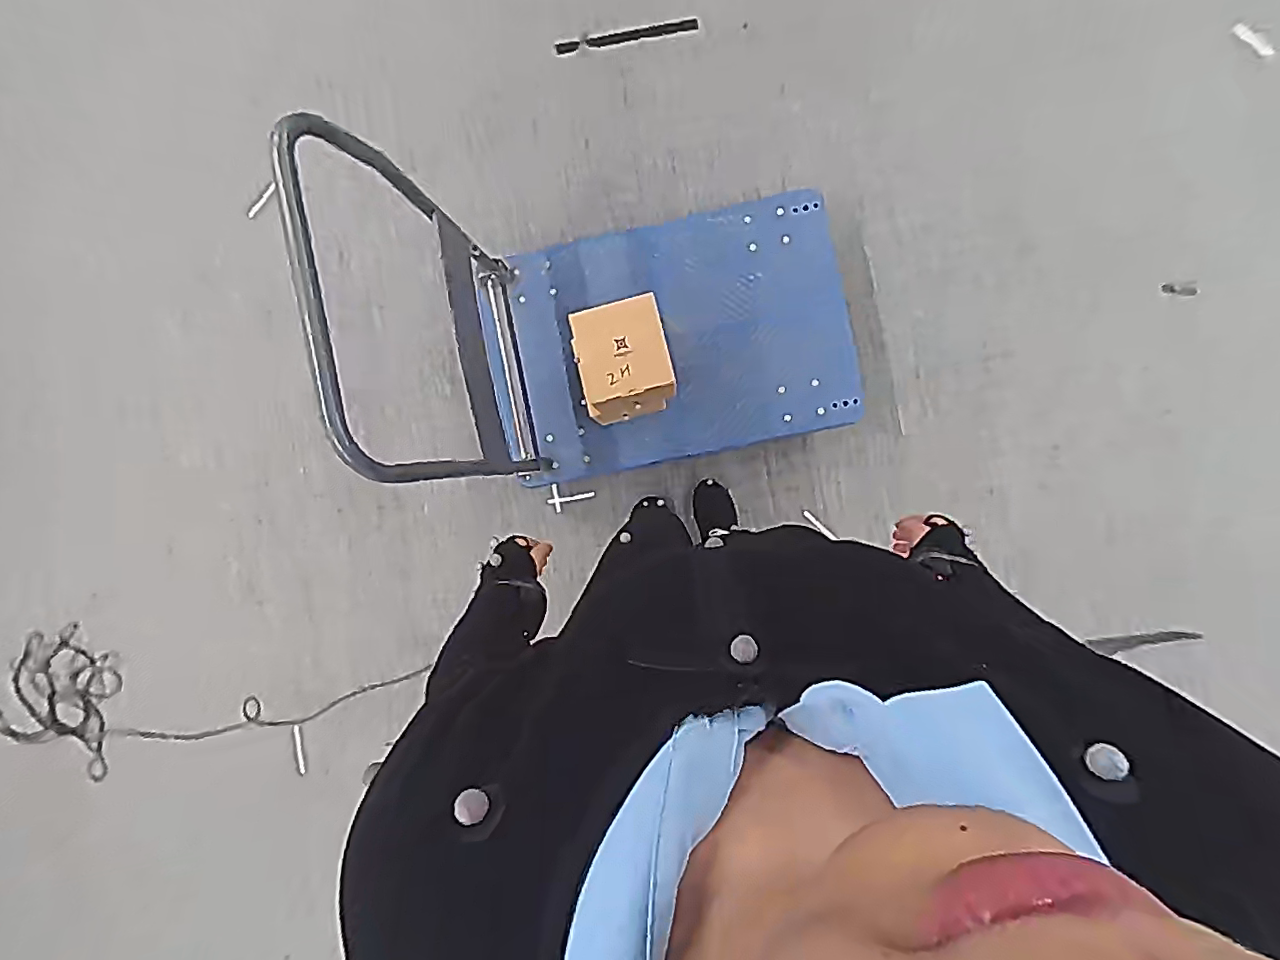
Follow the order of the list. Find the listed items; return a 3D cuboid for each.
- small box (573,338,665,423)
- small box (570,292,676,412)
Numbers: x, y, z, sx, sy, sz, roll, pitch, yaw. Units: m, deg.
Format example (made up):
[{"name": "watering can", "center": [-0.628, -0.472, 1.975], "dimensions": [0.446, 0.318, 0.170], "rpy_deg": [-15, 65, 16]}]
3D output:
[{"name": "small box", "center": [-0.043, -0.240, 1.242], "dimensions": [0.168, 0.176, 0.179], "rpy_deg": [-15, 90, 4]}, {"name": "small box", "center": [-0.028, -0.245, 1.076], "dimensions": [0.168, 0.176, 0.179], "rpy_deg": [-14, 90, 4]}]
